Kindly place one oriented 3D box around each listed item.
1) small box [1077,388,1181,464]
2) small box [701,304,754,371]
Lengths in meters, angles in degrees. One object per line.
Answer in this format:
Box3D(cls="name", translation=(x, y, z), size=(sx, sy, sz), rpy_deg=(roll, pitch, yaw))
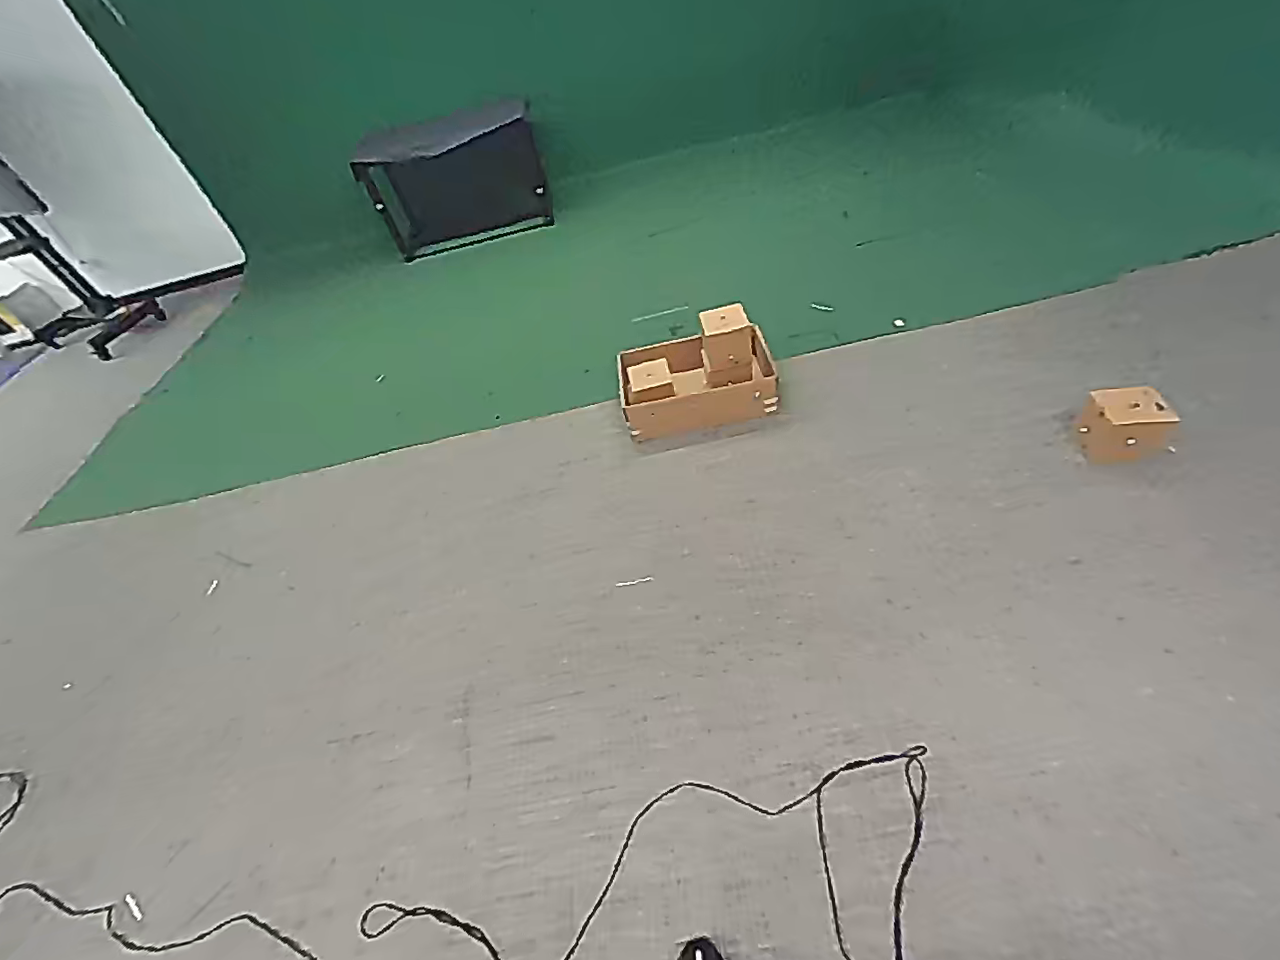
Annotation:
Box3D(cls="small box", translation=(1.517, -0.164, 1.698), size=(0.179, 0.176, 0.168), rpy_deg=(-4, 46, 13))
Box3D(cls="small box", translation=(0.338, -0.551, 2.091), size=(0.168, 0.176, 0.179), rpy_deg=(-12, 46, 6))
